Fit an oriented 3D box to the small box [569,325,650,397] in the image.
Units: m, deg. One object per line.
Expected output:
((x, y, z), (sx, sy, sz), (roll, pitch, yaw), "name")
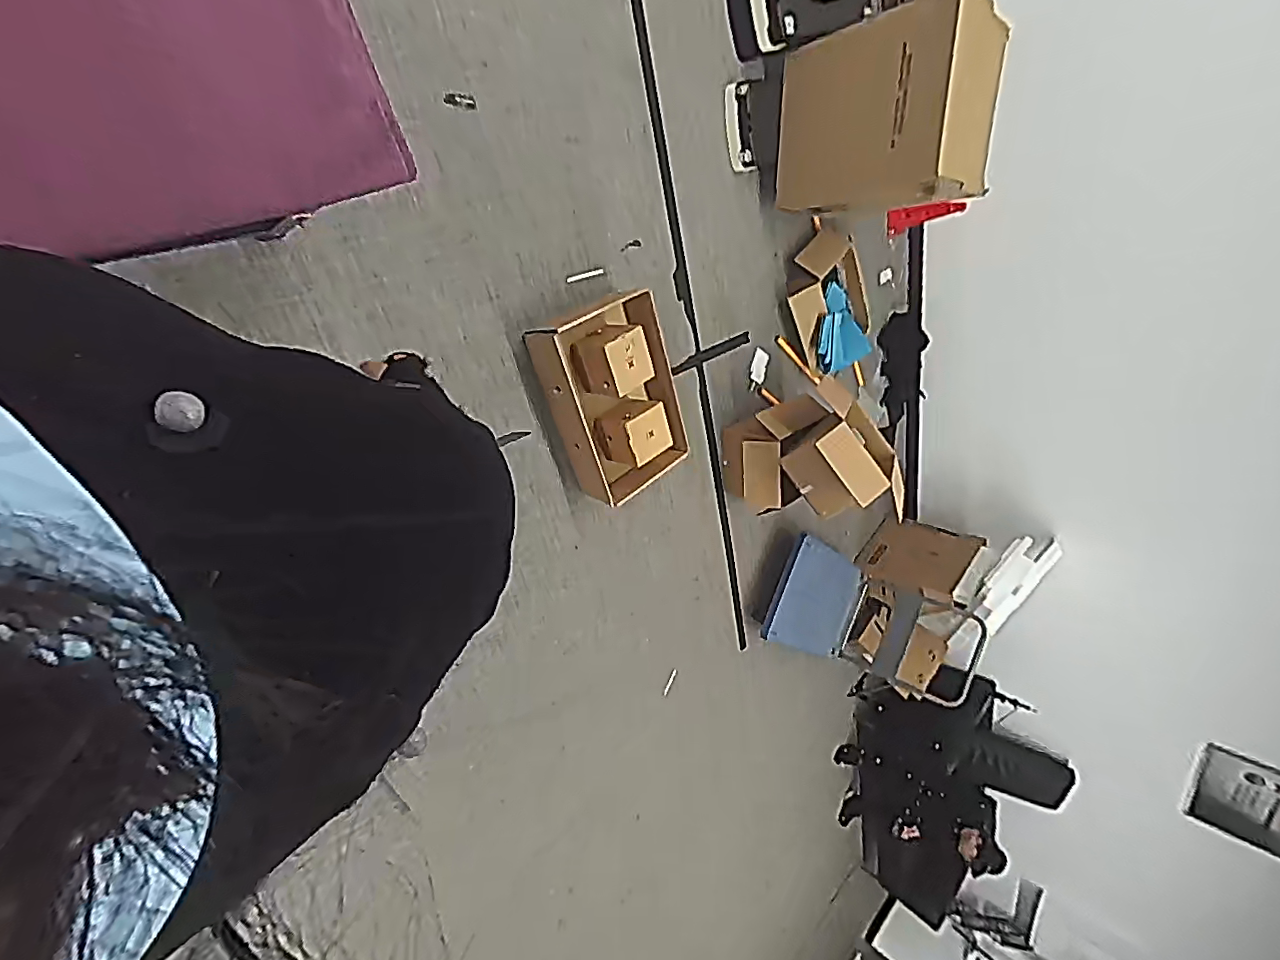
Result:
((-0.099, -0.388, 1.740), (0.168, 0.176, 0.179), (-38, 126, -31), "small box")

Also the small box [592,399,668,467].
((-0.035, -0.170, 1.866), (0.179, 0.176, 0.168), (-36, 123, -31), "small box")
